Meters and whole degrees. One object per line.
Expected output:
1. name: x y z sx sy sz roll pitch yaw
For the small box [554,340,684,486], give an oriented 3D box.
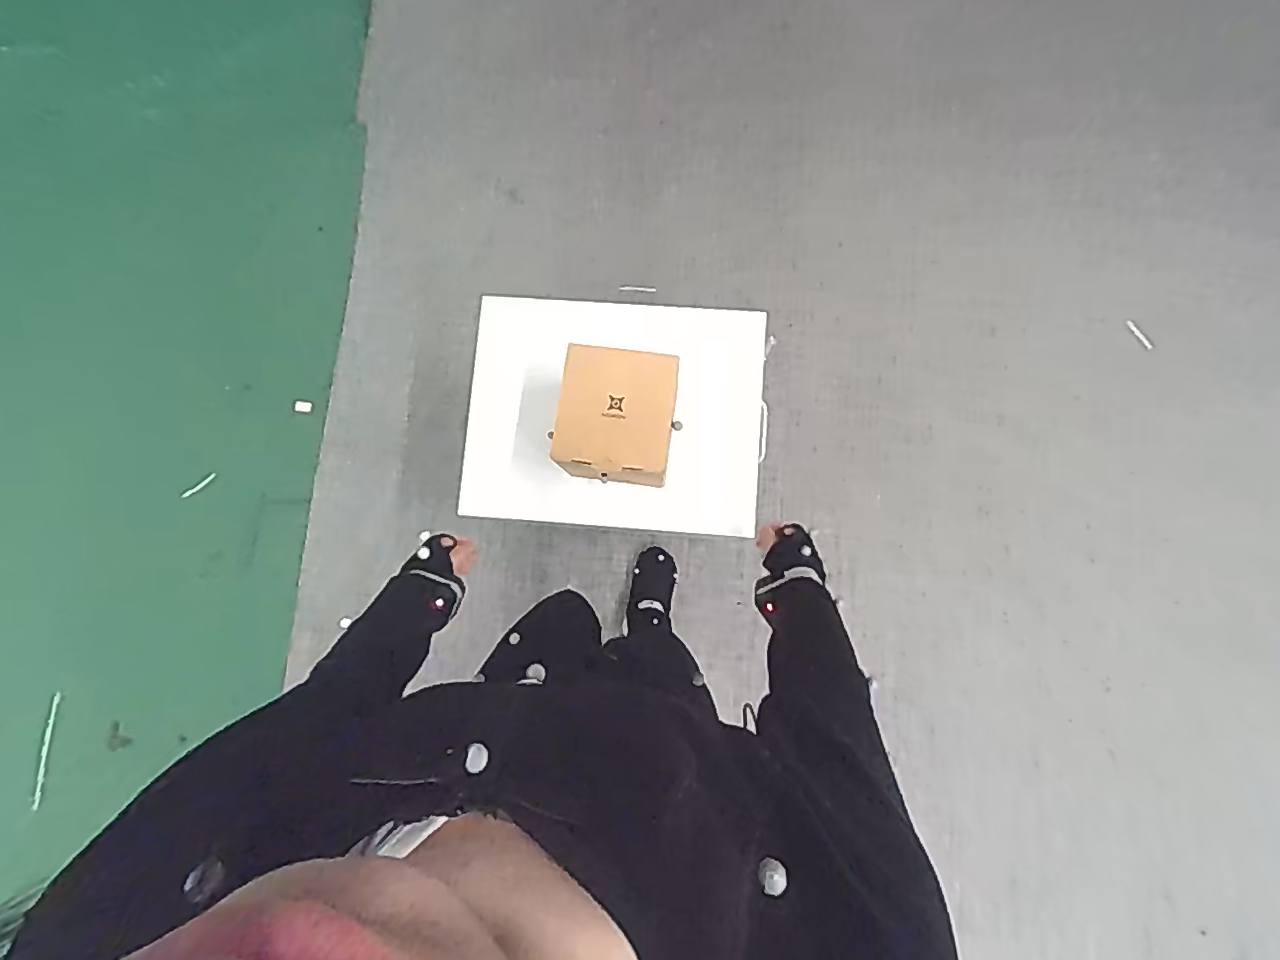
1. small box: -0.027 -0.094 0.834 0.168 0.176 0.179 7 84 3
